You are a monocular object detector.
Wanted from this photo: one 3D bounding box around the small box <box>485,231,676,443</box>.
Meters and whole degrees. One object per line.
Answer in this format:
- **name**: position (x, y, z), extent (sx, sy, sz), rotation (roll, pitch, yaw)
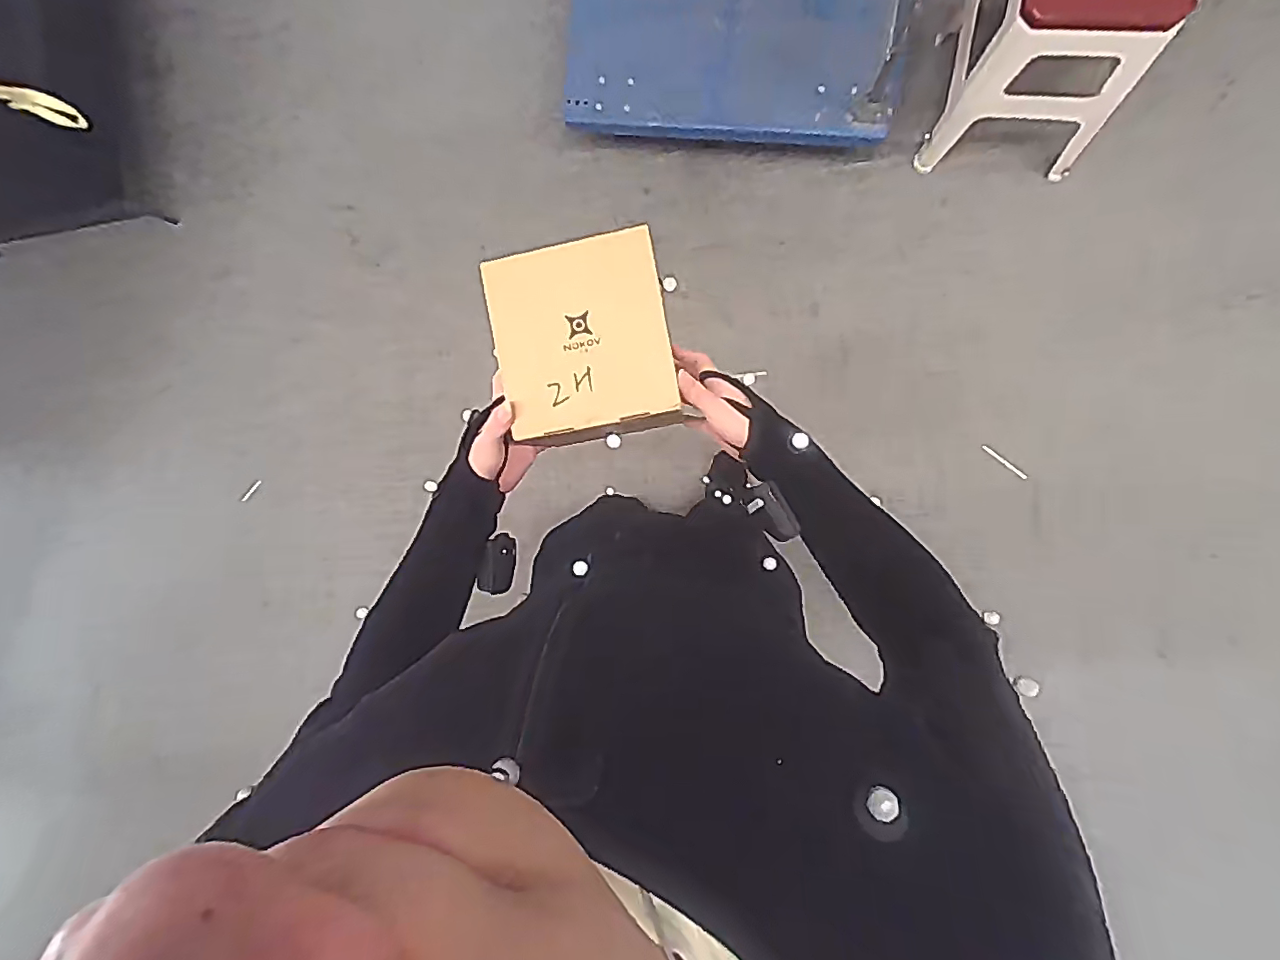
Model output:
- **small box**: position (-0.054, -0.141, 0.598), extent (0.168, 0.176, 0.179), rotation (-9, 91, 5)
